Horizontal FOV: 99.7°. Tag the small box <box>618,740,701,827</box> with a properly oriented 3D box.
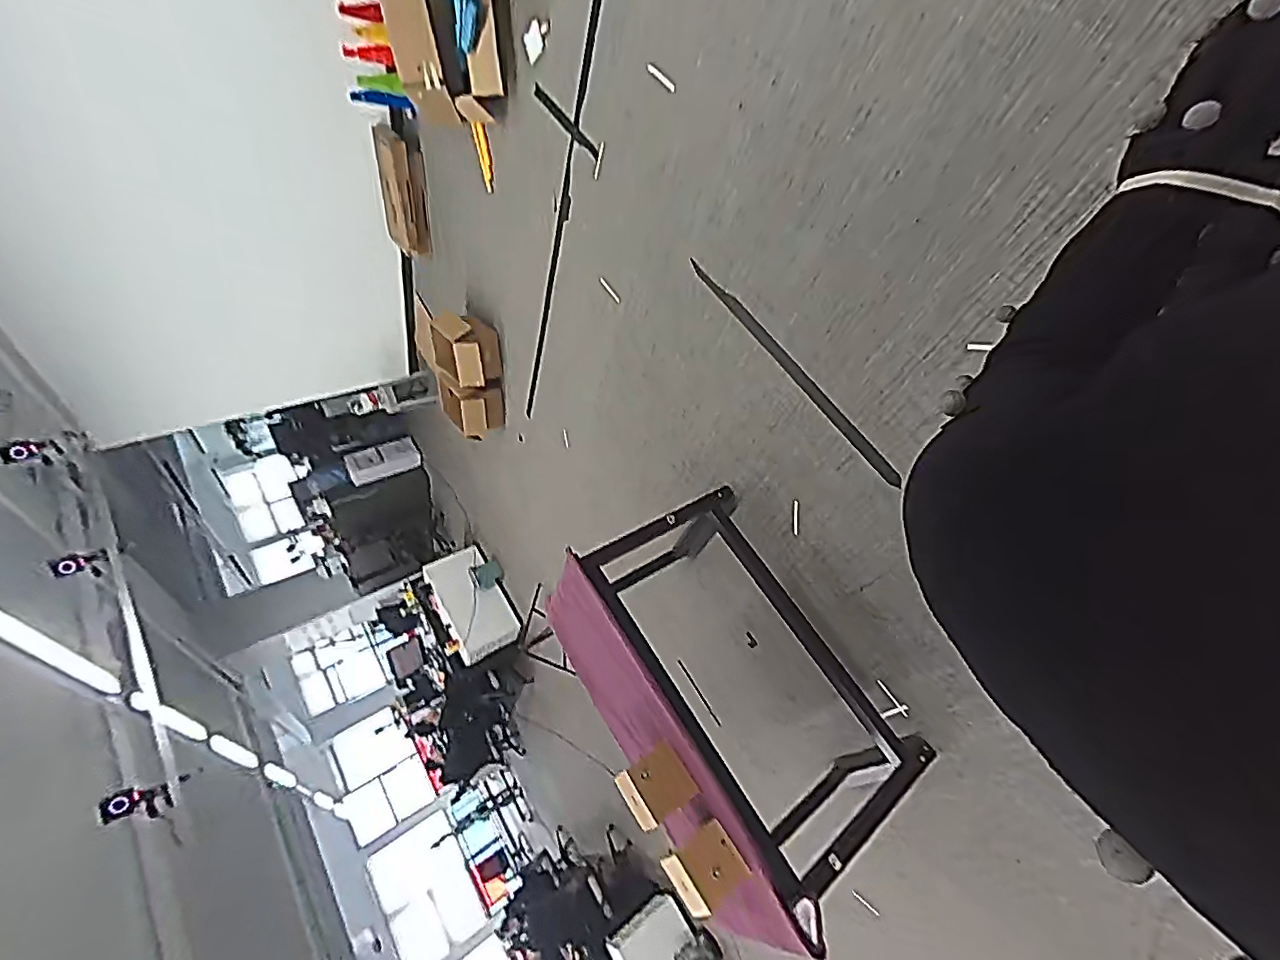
[{"bbox_3d":[0.059,0.939,1.686,0.179,0.176,0.168,53,147,24],"label":"small box"}]

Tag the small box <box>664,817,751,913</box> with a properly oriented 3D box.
[{"bbox_3d":[0.202,1.132,1.597,0.168,0.176,0.179,50,146,26],"label":"small box"}]
